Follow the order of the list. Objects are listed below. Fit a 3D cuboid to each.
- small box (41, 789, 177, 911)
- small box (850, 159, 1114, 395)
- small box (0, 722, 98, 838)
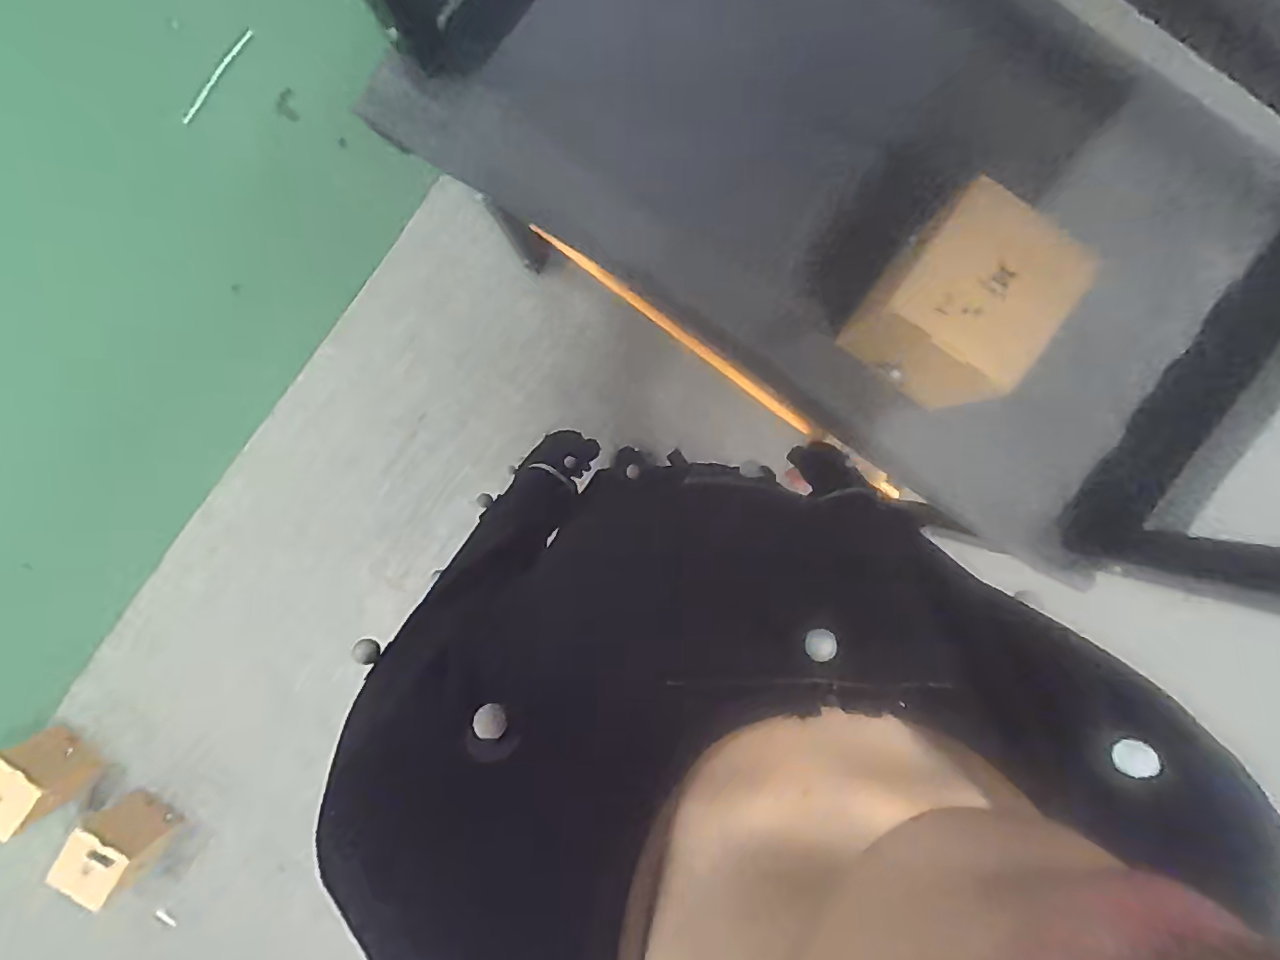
[{"bbox_3d":[-1.410,0.980,1.451,0.168,0.176,0.179,33,93,1],"label":"small box"},{"bbox_3d":[0.388,-0.225,0.651,0.168,0.176,0.179,36,91,1],"label":"small box"},{"bbox_3d":[-1.638,0.797,1.452,0.168,0.176,0.179,37,92,-1],"label":"small box"}]
